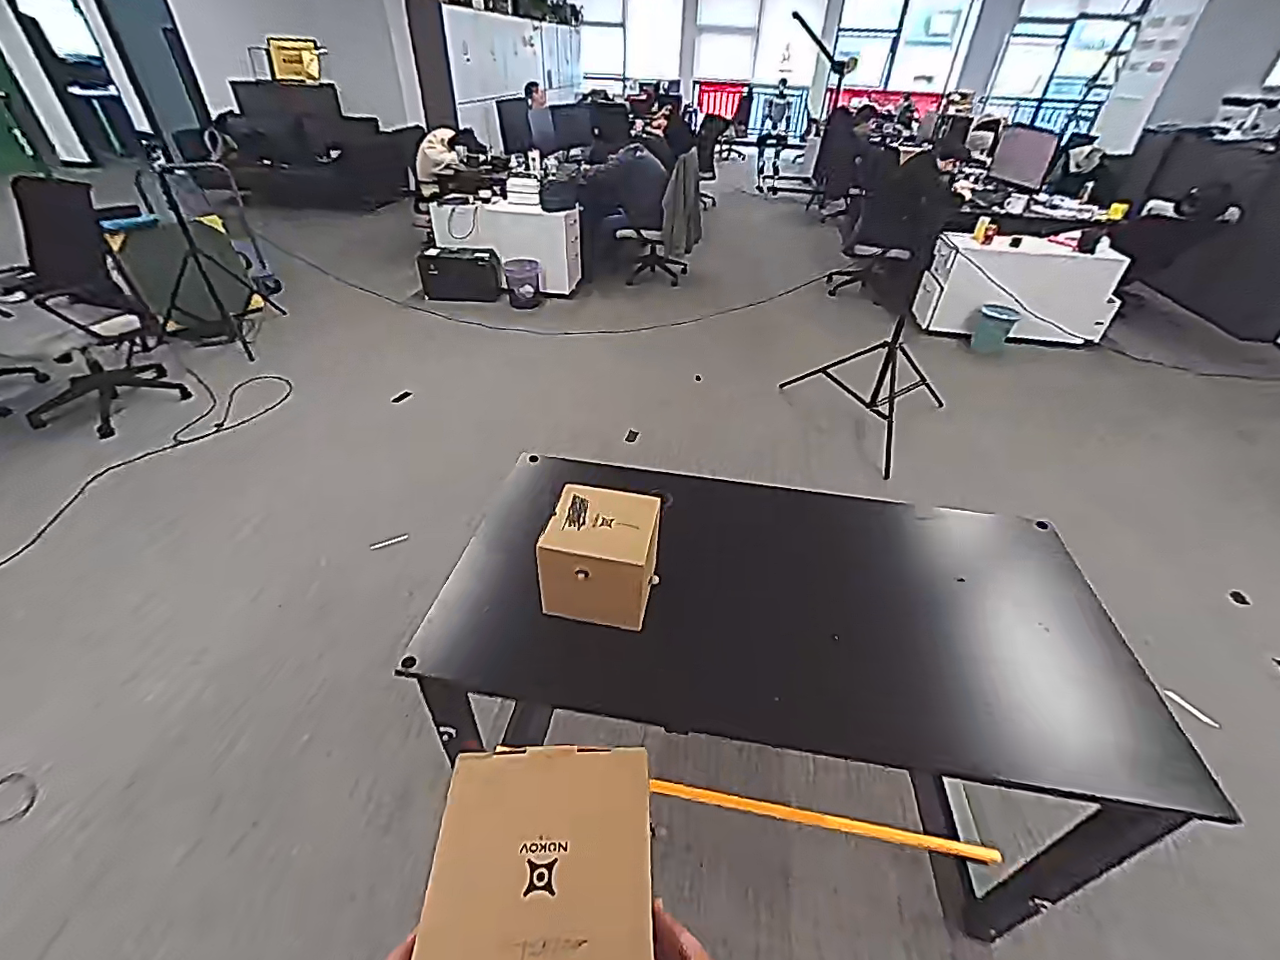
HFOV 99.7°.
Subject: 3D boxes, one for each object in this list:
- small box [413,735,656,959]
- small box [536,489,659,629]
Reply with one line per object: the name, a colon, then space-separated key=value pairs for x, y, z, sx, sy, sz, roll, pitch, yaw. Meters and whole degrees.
small box: x=-0.072 y=0.343 z=0.462 sx=0.168 sy=0.176 sz=0.179 roll=-2 pitch=41 yaw=0
small box: x=-0.068 y=0.139 z=0.954 sx=0.179 sy=0.176 sz=0.168 roll=9 pitch=38 yaw=7
